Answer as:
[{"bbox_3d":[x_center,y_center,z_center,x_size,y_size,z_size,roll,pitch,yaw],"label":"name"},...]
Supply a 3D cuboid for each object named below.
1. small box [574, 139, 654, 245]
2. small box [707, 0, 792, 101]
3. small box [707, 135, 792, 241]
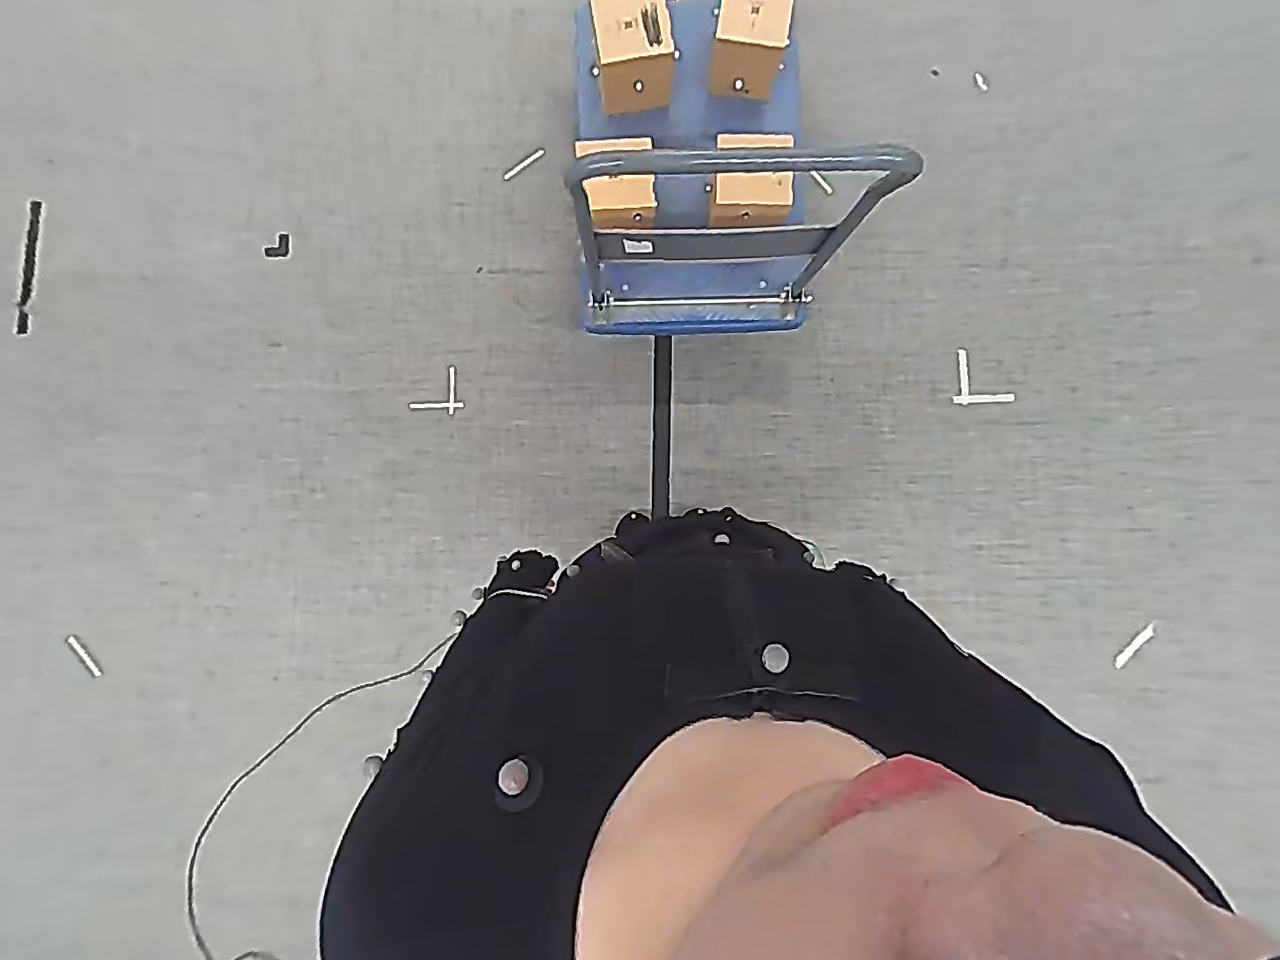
[{"bbox_3d":[-0.059,-0.686,1.304,0.179,0.176,0.168,-4,87,-2],"label":"small box"},{"bbox_3d":[0.264,-1.081,1.322,0.168,0.176,0.179,9,88,1],"label":"small box"},{"bbox_3d":[0.257,-0.695,1.303,0.179,0.176,0.168,2,87,0],"label":"small box"}]
